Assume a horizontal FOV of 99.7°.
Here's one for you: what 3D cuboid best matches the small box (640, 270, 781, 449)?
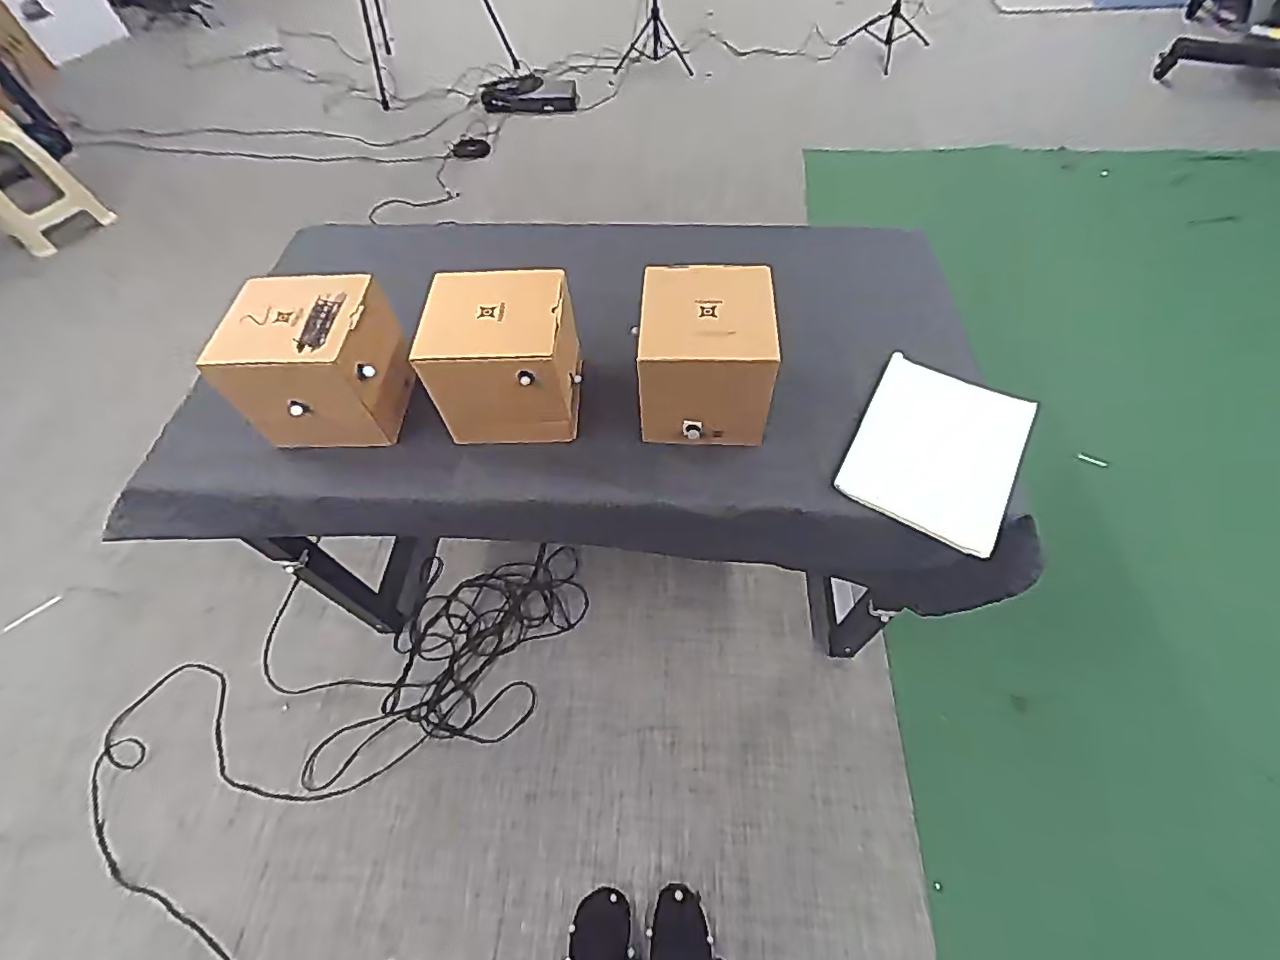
[{"bbox_3d":[0.090,-0.162,0.738,0.168,0.176,0.179,0,58,4],"label":"small box"}]

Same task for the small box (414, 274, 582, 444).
[{"bbox_3d":[-0.181,-0.162,0.751,0.179,0.176,0.168,-1,56,1],"label":"small box"}]
